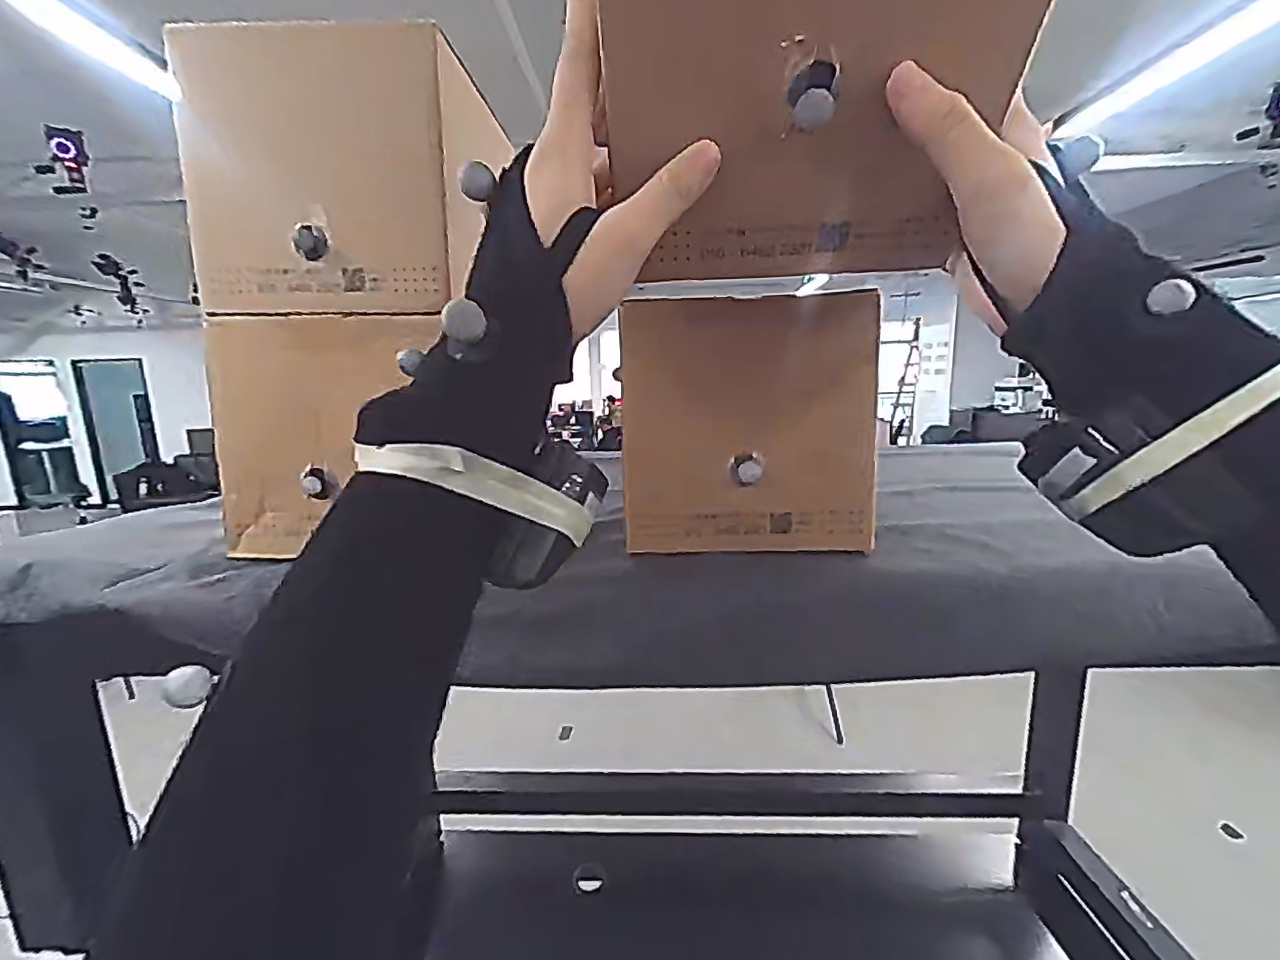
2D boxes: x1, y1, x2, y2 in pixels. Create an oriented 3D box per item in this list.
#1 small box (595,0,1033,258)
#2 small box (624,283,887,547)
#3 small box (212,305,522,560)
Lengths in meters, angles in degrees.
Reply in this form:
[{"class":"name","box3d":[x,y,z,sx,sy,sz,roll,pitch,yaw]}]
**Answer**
[{"class":"small box","box3d":[0.067,-0.223,0.260,0.168,0.176,0.179,-2,52,2]},{"class":"small box","box3d":[0.077,-0.050,0.429,0.168,0.176,0.179,-2,8,3]},{"class":"small box","box3d":[-0.197,-0.041,0.441,0.168,0.176,0.179,0,9,1]}]
